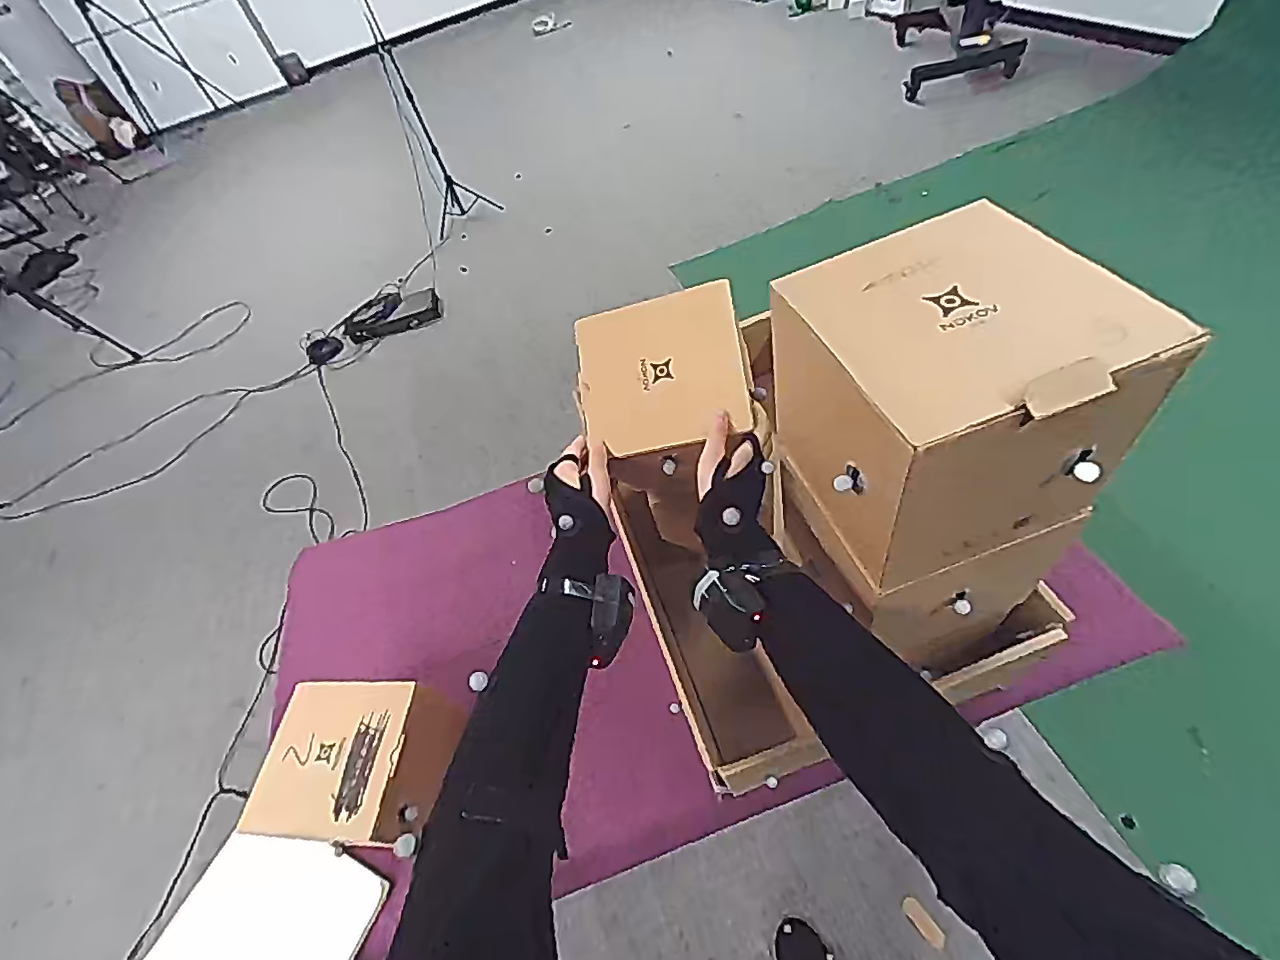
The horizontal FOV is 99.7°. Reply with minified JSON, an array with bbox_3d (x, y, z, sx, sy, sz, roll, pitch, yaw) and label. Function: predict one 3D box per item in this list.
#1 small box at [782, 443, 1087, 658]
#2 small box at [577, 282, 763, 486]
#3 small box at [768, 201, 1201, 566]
[{"bbox_3d":[0.249,0.042,0.512,0.179,0.176,0.168,-22,51,1],"label":"small box"},{"bbox_3d":[0.044,-0.097,0.631,0.179,0.176,0.168,-11,76,16],"label":"small box"},{"bbox_3d":[0.208,-0.058,0.390,0.168,0.176,0.179,-21,50,0],"label":"small box"}]
